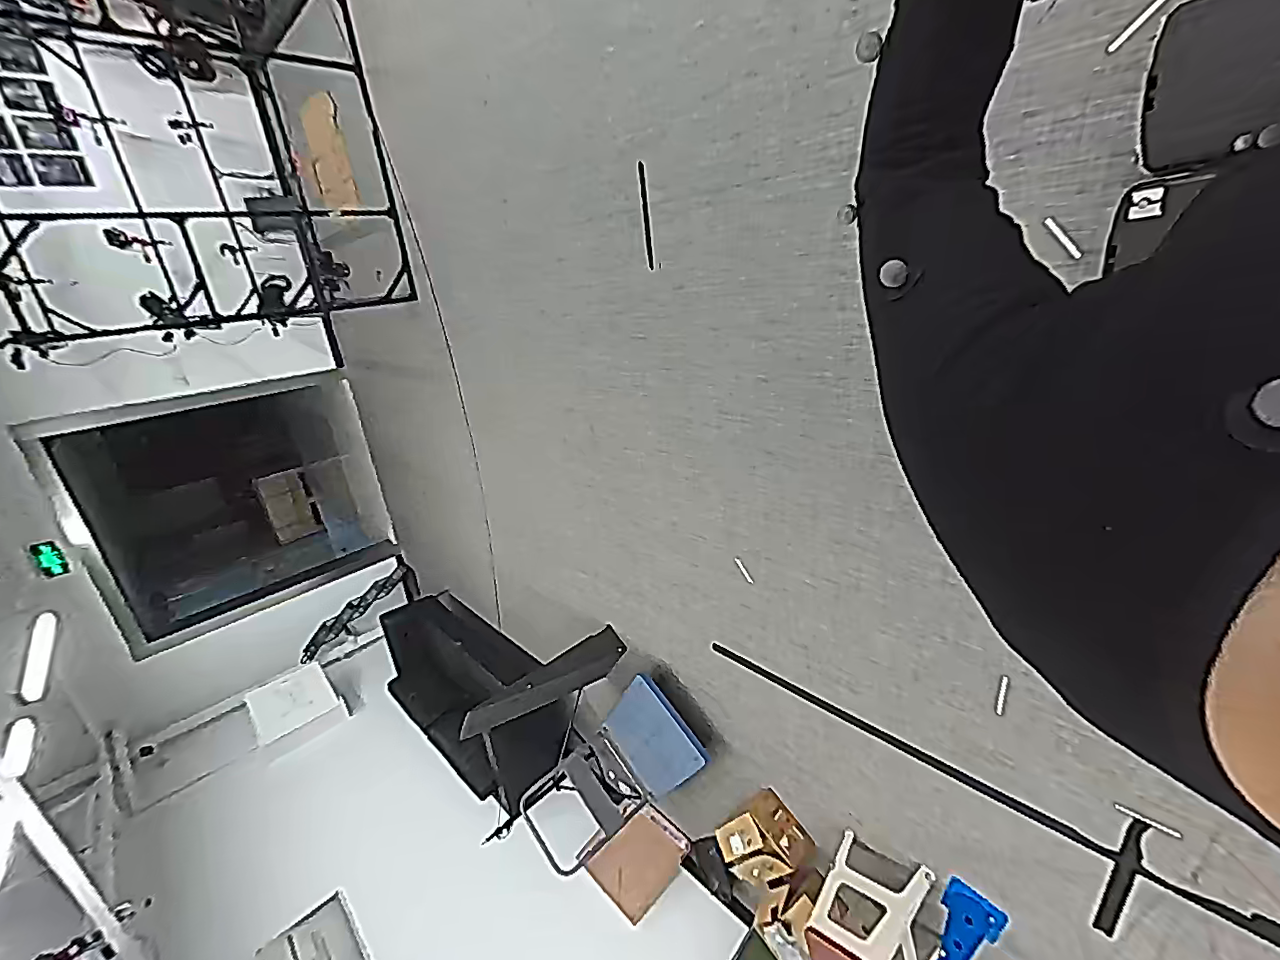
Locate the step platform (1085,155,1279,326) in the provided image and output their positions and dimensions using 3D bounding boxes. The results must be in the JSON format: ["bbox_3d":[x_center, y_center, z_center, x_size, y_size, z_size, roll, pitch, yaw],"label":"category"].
[{"bbox_3d":[1.219,-0.428,0.942,0.684,0.204,0.286,14,119,47],"label":"step platform"}]
